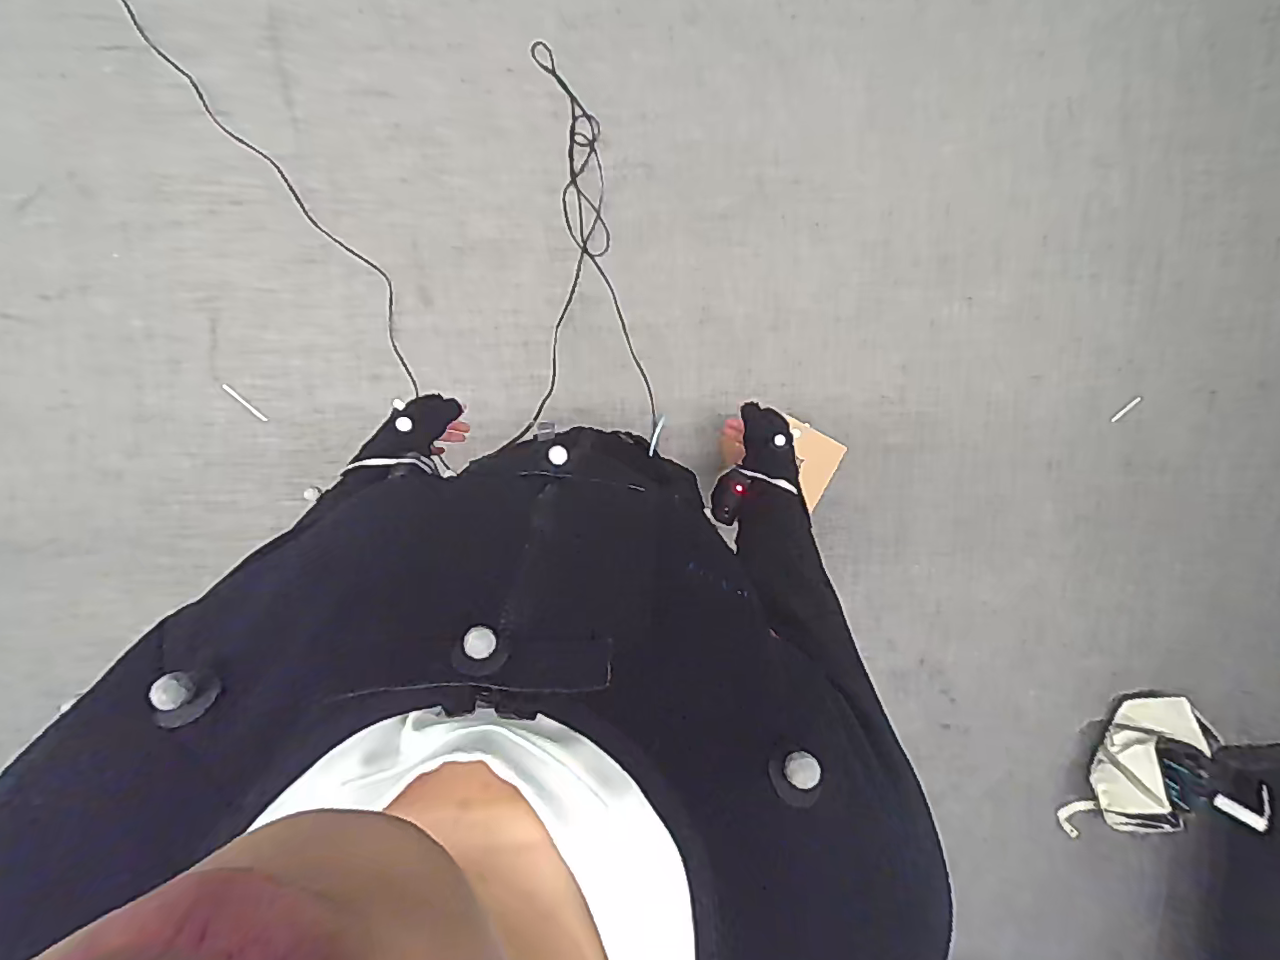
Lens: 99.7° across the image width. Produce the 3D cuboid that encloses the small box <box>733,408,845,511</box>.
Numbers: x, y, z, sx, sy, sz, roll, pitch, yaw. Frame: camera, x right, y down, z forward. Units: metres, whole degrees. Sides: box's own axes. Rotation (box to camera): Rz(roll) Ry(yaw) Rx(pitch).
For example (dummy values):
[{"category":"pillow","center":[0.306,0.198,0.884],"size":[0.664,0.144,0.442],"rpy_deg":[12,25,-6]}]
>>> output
[{"category":"small box","center":[0.332,-0.052,1.251],"size":[0.168,0.176,0.179],"rpy_deg":[27,95,-5]}]

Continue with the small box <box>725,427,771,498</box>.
[{"category":"small box","center":[0.321,-0.053,1.399],"size":[0.179,0.176,0.168],"rpy_deg":[-7,97,-2]}]
